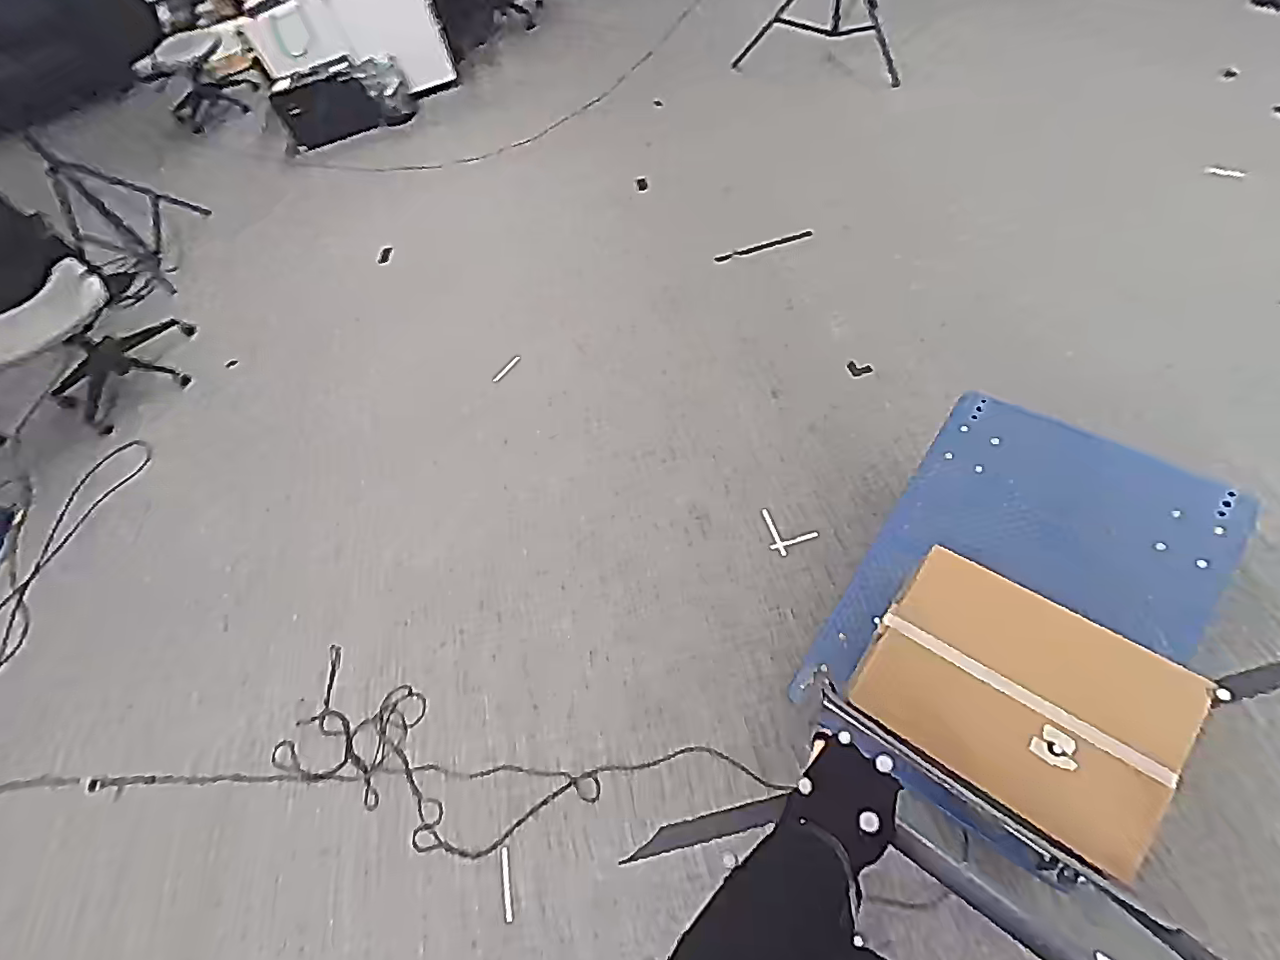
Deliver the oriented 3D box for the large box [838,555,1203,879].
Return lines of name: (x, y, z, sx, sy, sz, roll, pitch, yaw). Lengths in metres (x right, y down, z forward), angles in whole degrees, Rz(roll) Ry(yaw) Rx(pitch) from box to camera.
large box: (0.624, 0.392, 0.979, 0.408, 0.320, 0.320, 30, 81, 25)
